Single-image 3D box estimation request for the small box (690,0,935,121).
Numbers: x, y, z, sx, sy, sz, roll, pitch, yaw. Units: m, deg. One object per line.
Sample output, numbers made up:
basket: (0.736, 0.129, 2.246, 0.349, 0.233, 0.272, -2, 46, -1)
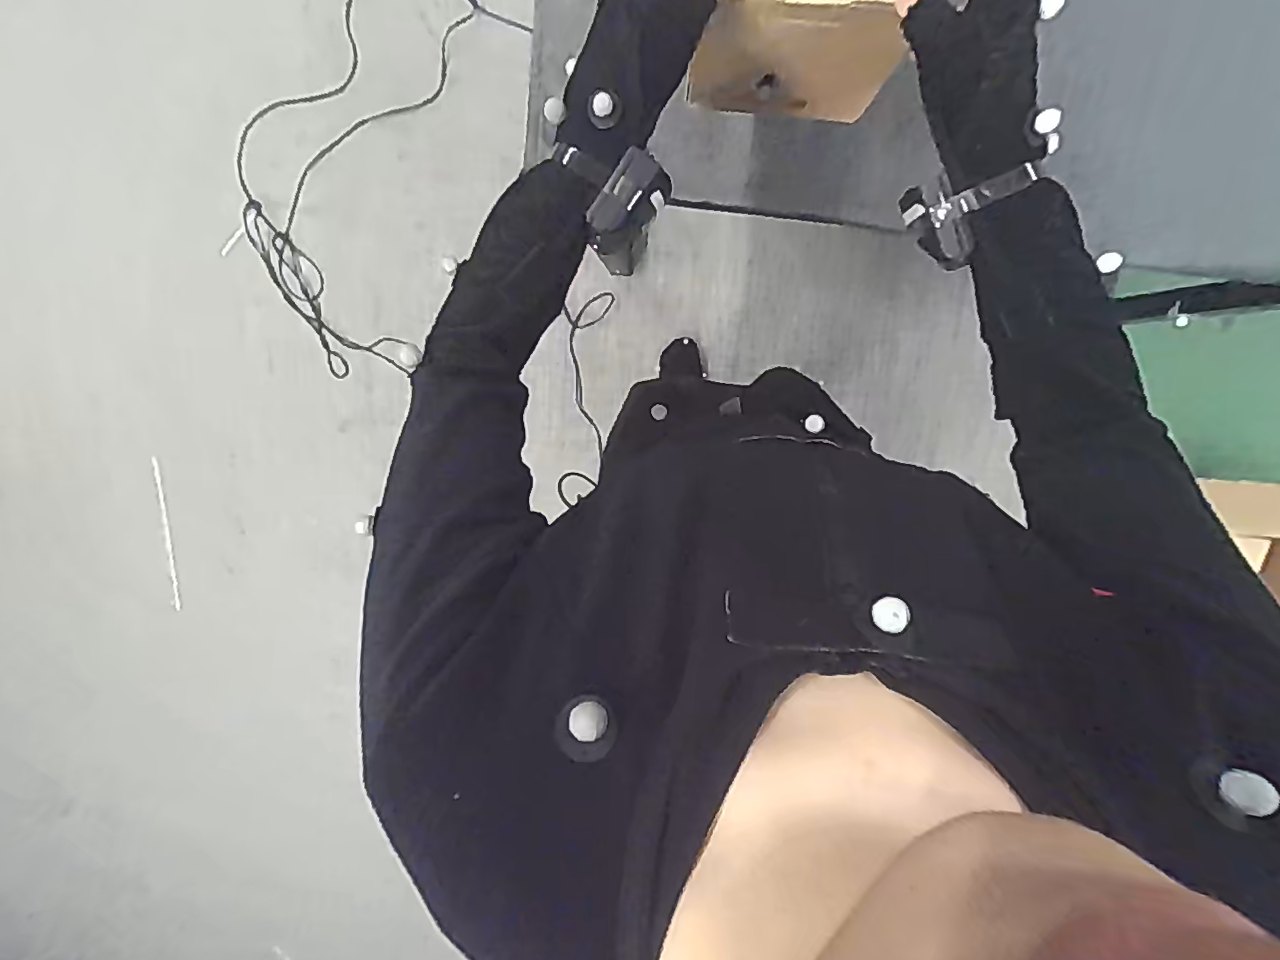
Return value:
small box: (0.132, -0.427, 0.434, 0.168, 0.176, 0.179, 6, 102, 2)
